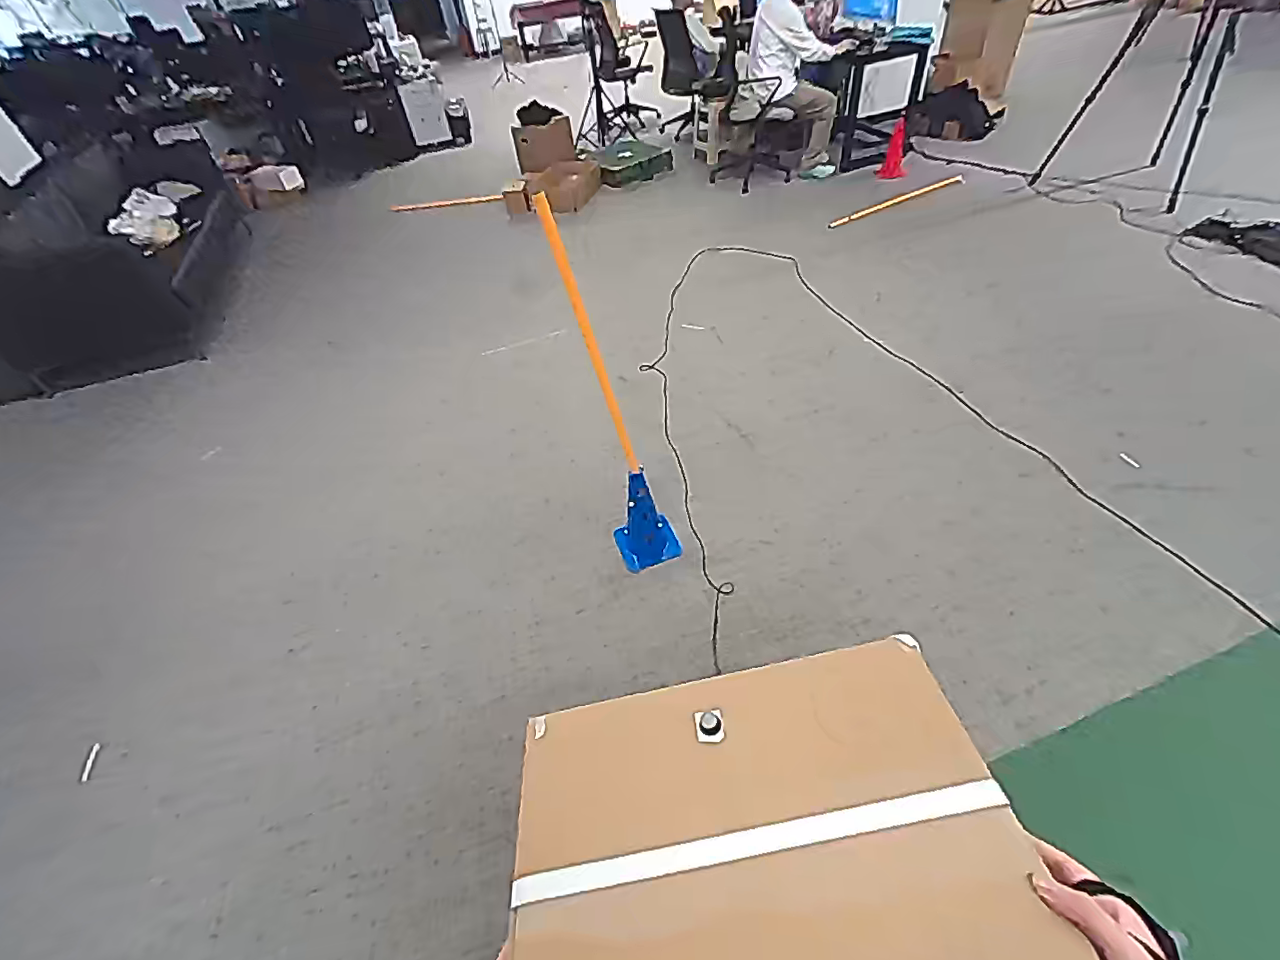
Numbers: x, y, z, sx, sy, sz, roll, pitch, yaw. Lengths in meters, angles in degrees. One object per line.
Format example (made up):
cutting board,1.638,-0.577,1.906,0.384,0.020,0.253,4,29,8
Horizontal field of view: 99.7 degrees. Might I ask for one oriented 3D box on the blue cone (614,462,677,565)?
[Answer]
blue cone,-0.002,0.091,1.760,0.193,0.380,0.192,-21,47,-10
